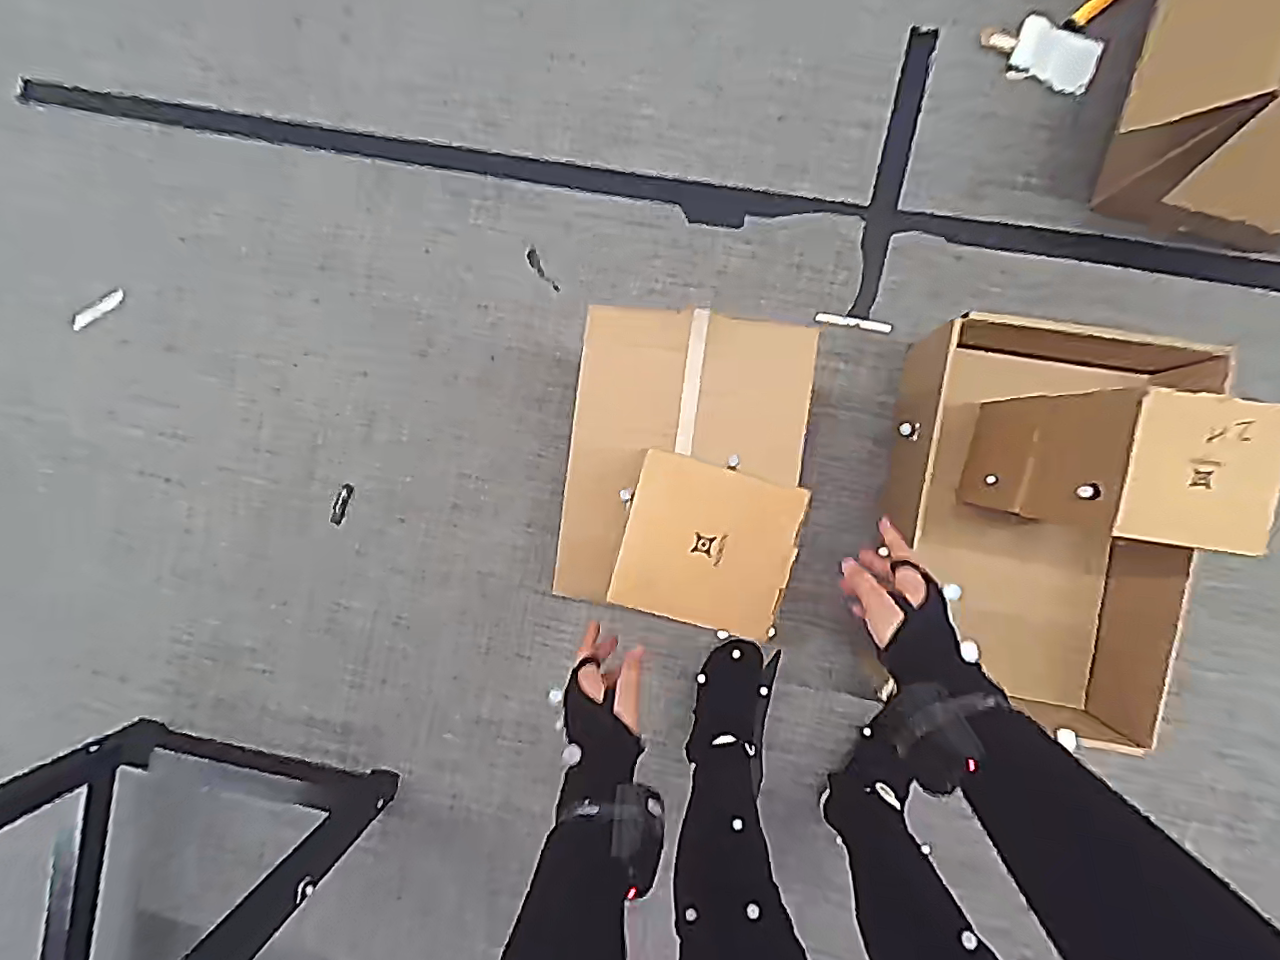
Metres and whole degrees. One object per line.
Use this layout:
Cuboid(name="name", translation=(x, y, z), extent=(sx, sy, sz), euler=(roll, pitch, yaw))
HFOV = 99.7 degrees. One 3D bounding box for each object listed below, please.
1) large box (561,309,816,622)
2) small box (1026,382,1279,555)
Cuboid(name="large box", translation=(0.071, -0.028, 0.878), extent=(0.320, 0.320, 0.408), euler=(7, 93, 5))
Cuboid(name="small box", translation=(0.635, -0.018, 0.687), extent=(0.168, 0.176, 0.179), euler=(9, 94, 3))
